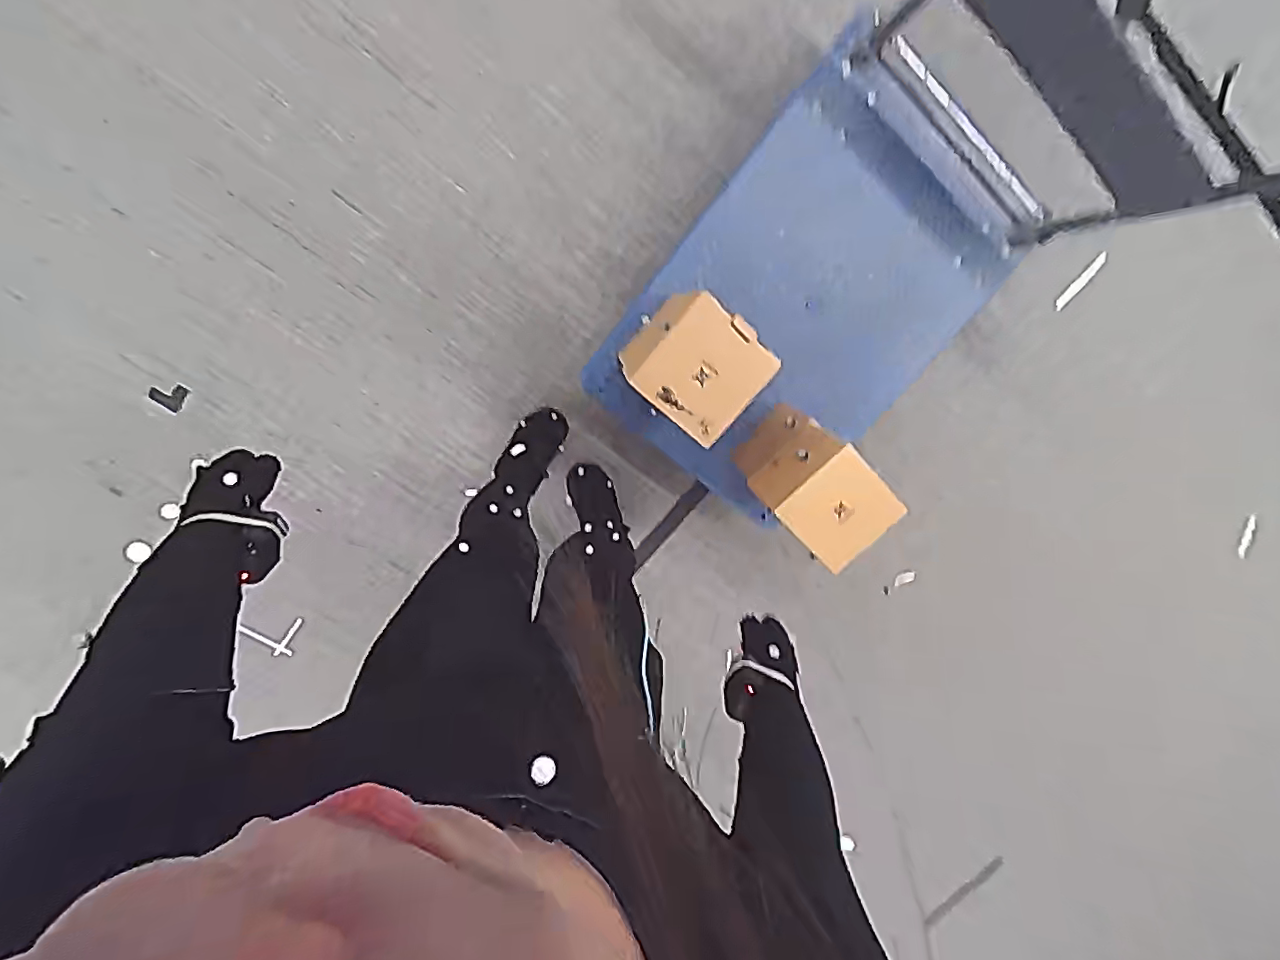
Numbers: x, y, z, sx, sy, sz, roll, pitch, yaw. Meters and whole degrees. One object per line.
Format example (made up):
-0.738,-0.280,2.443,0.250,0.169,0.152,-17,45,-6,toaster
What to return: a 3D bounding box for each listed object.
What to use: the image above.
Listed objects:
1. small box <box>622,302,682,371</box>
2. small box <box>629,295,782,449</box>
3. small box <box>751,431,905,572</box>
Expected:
0.083,-0.231,1.051,0.179,0.176,0.168,42,100,-15,small box
0.094,-0.183,0.894,0.168,0.176,0.179,39,100,-15,small box
0.331,0.028,0.988,0.168,0.176,0.179,-44,108,9,small box
